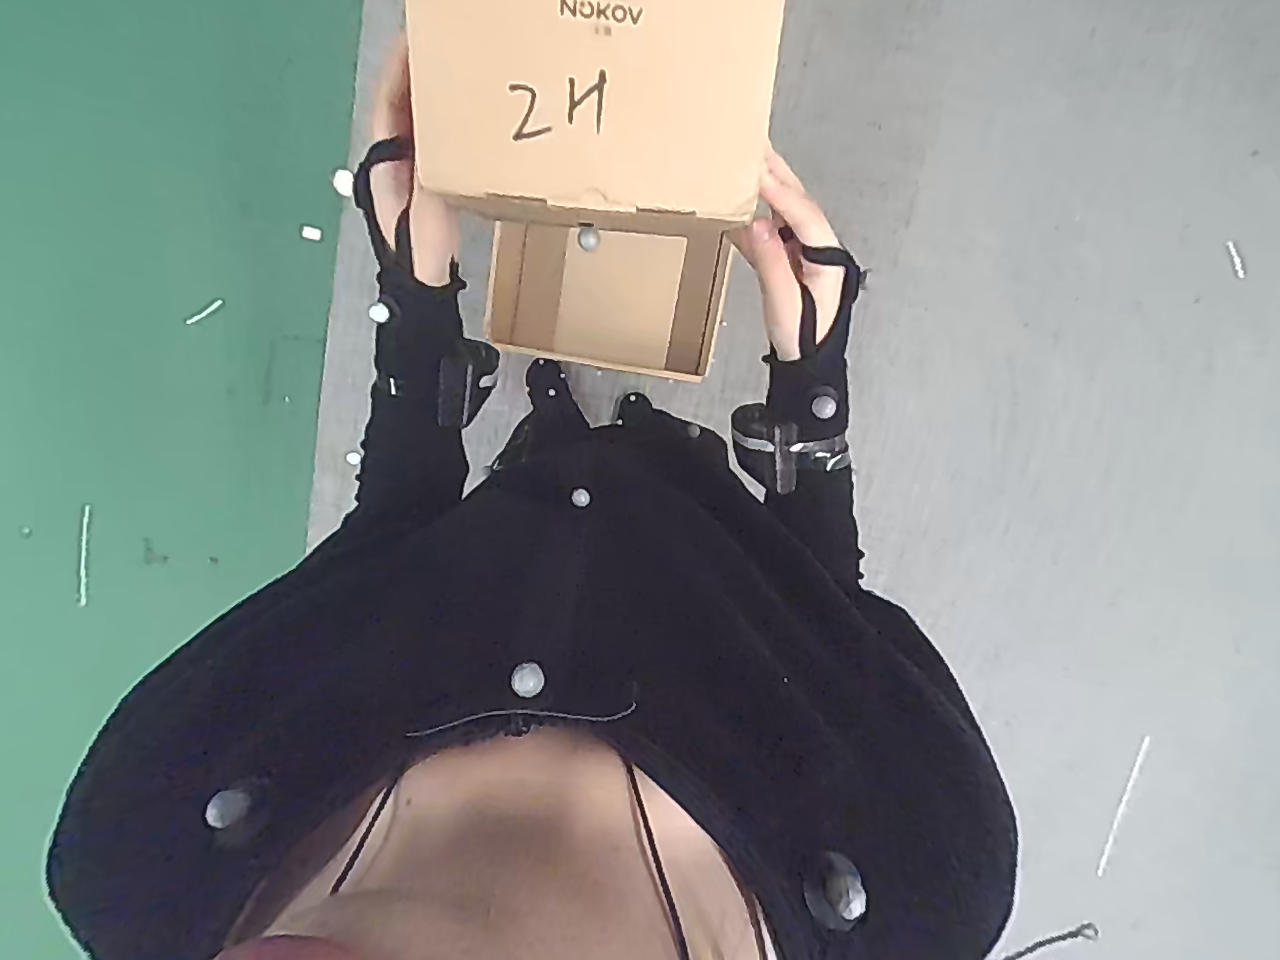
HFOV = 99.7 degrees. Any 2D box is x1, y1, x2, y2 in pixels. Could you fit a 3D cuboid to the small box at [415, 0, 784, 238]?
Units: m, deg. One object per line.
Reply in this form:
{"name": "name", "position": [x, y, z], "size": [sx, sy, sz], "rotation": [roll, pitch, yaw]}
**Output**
{"name": "small box", "position": [-0.023, -0.246, 0.313], "size": [0.168, 0.176, 0.179], "rotation": [2, 112, -6]}
